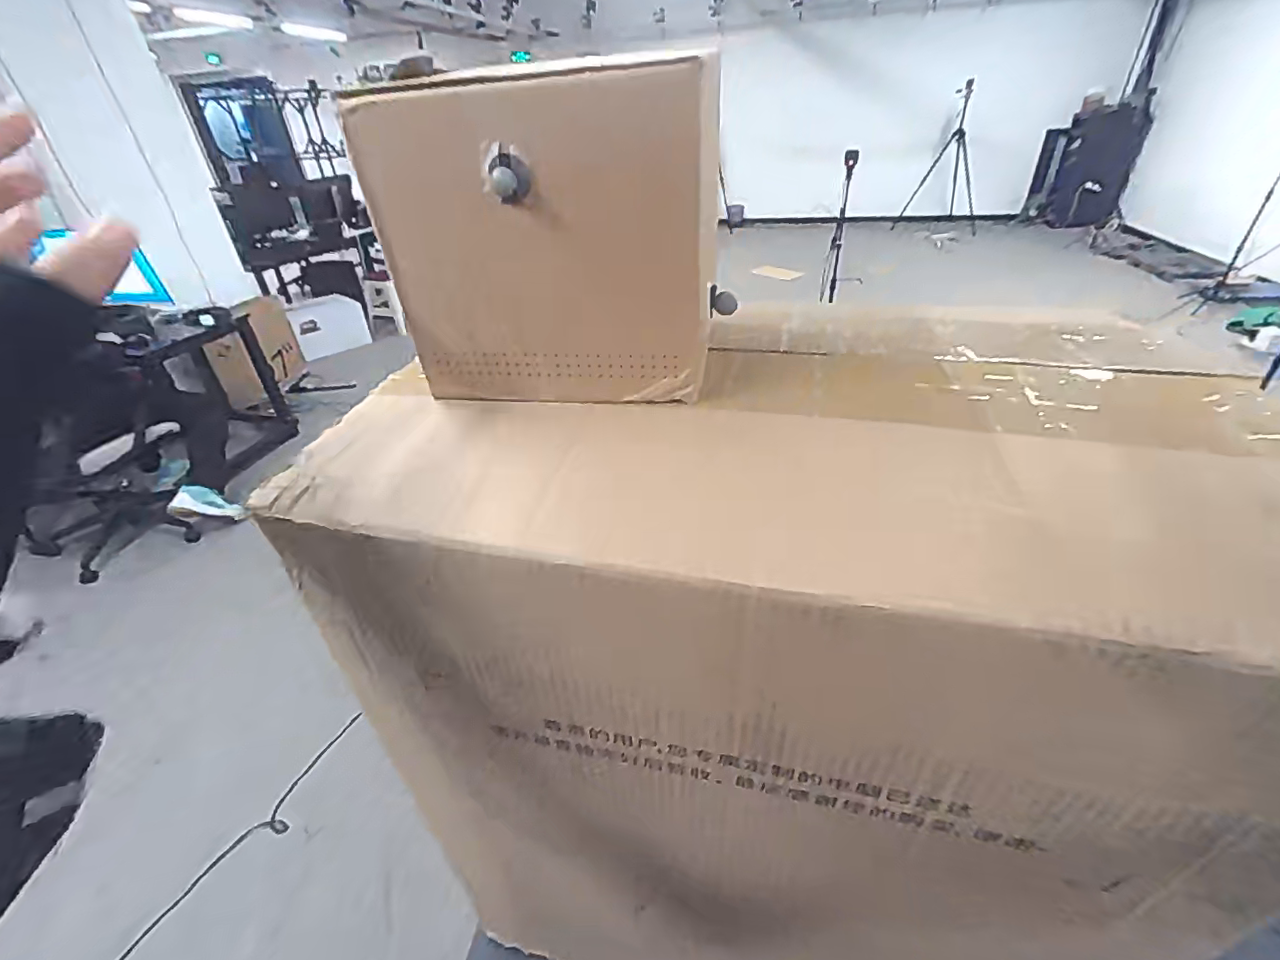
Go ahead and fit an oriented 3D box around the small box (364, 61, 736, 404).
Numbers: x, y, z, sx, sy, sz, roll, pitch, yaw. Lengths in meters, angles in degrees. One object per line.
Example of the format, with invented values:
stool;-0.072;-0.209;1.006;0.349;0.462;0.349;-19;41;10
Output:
small box;-0.031;-0.162;0.355;0.179;0.176;0.168;4;40;9
